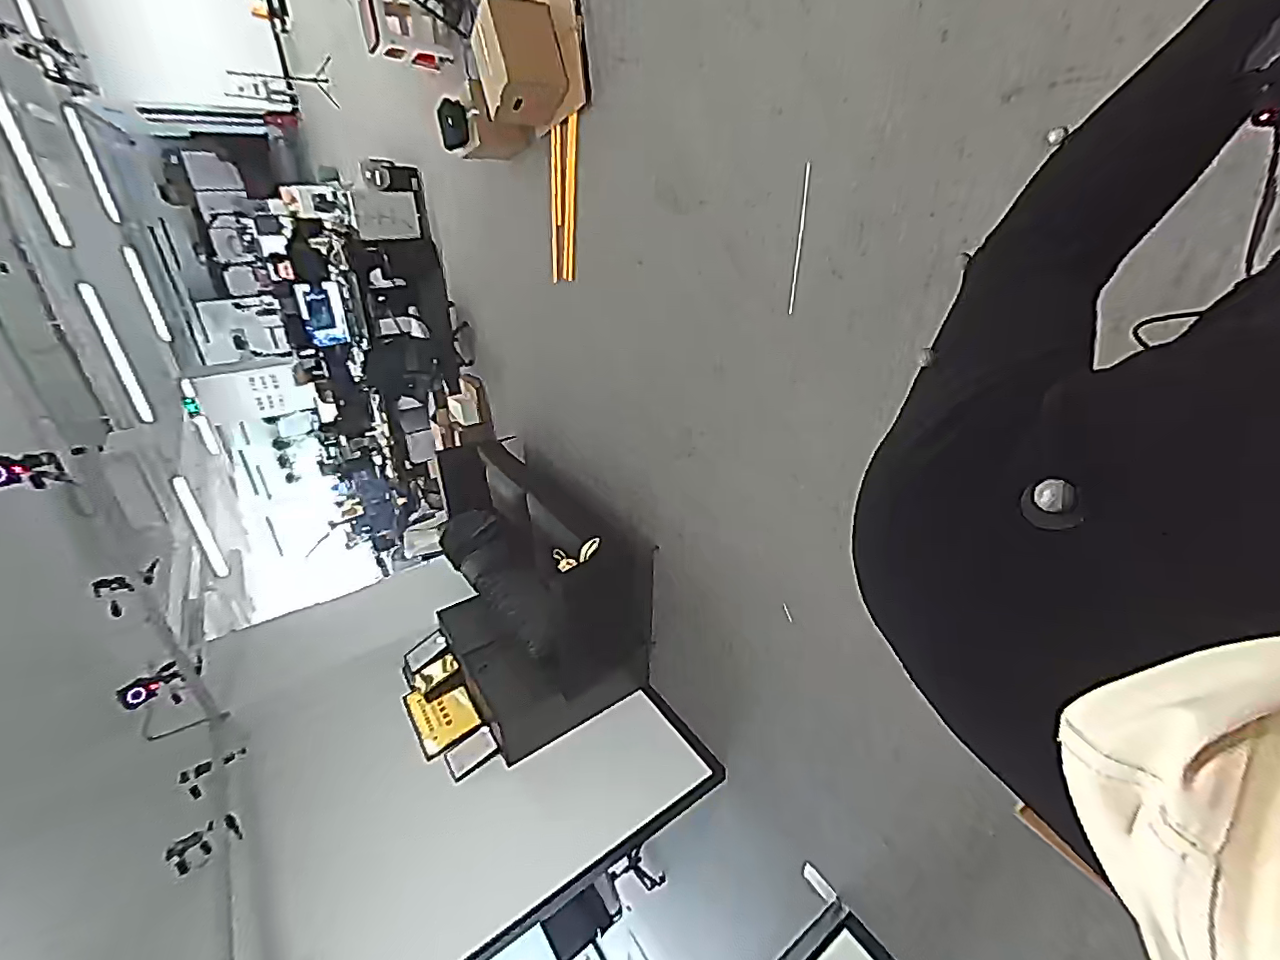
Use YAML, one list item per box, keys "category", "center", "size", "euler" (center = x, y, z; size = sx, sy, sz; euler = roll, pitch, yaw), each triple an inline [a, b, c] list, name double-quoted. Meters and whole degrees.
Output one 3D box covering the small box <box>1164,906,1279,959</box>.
- category: "small box"
  center: [1.285, 1.081, 1.167]
  size: [0.168, 0.176, 0.179]
  euler: [41, 139, 43]
